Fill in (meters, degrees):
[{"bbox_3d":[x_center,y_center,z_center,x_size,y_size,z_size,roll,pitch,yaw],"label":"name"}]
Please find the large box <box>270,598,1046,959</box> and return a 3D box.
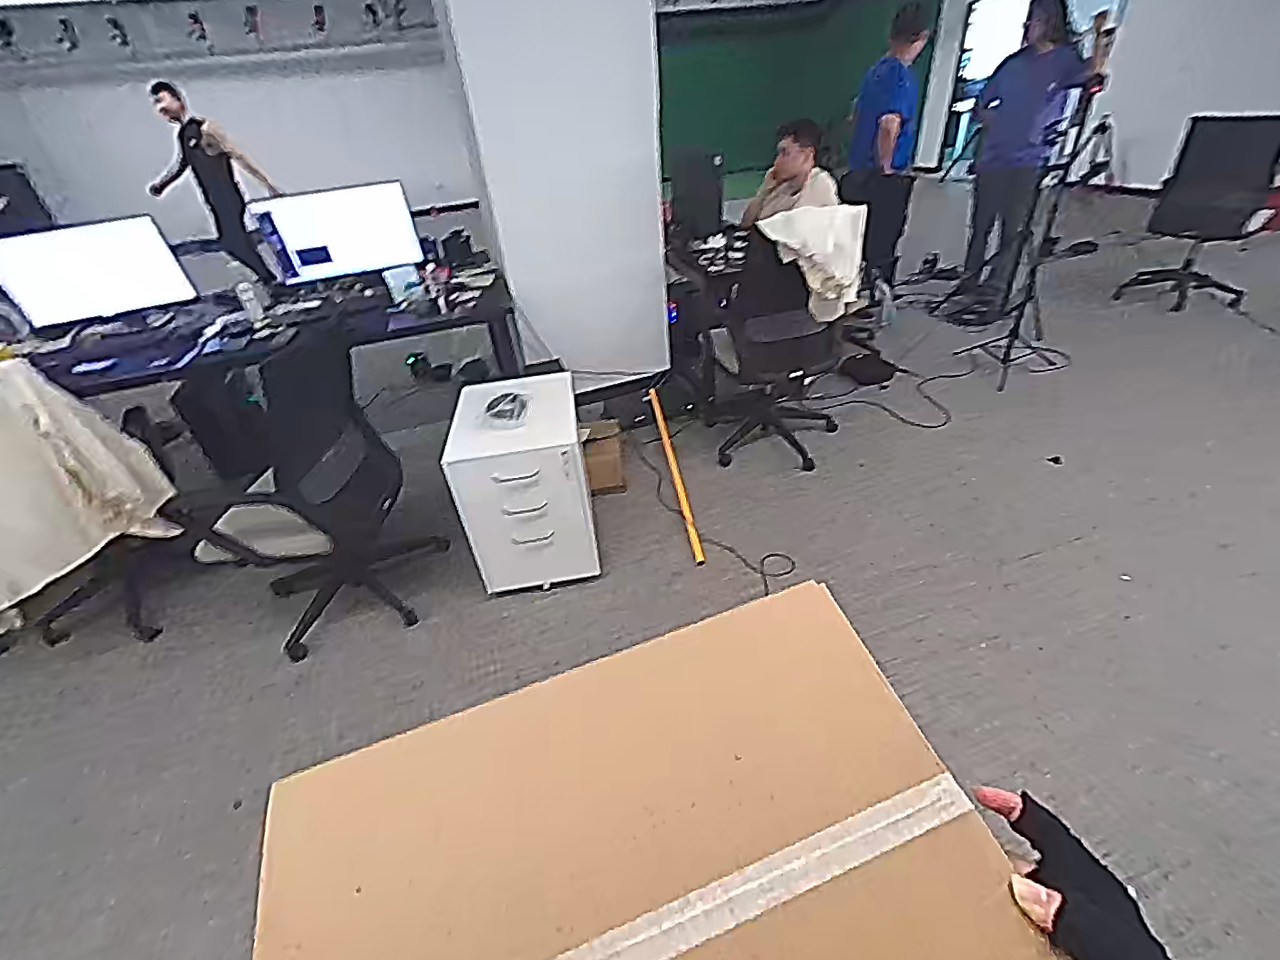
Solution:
[{"bbox_3d":[0.013,0.354,0.409,0.408,0.320,0.320,-18,50,-9],"label":"large box"}]
